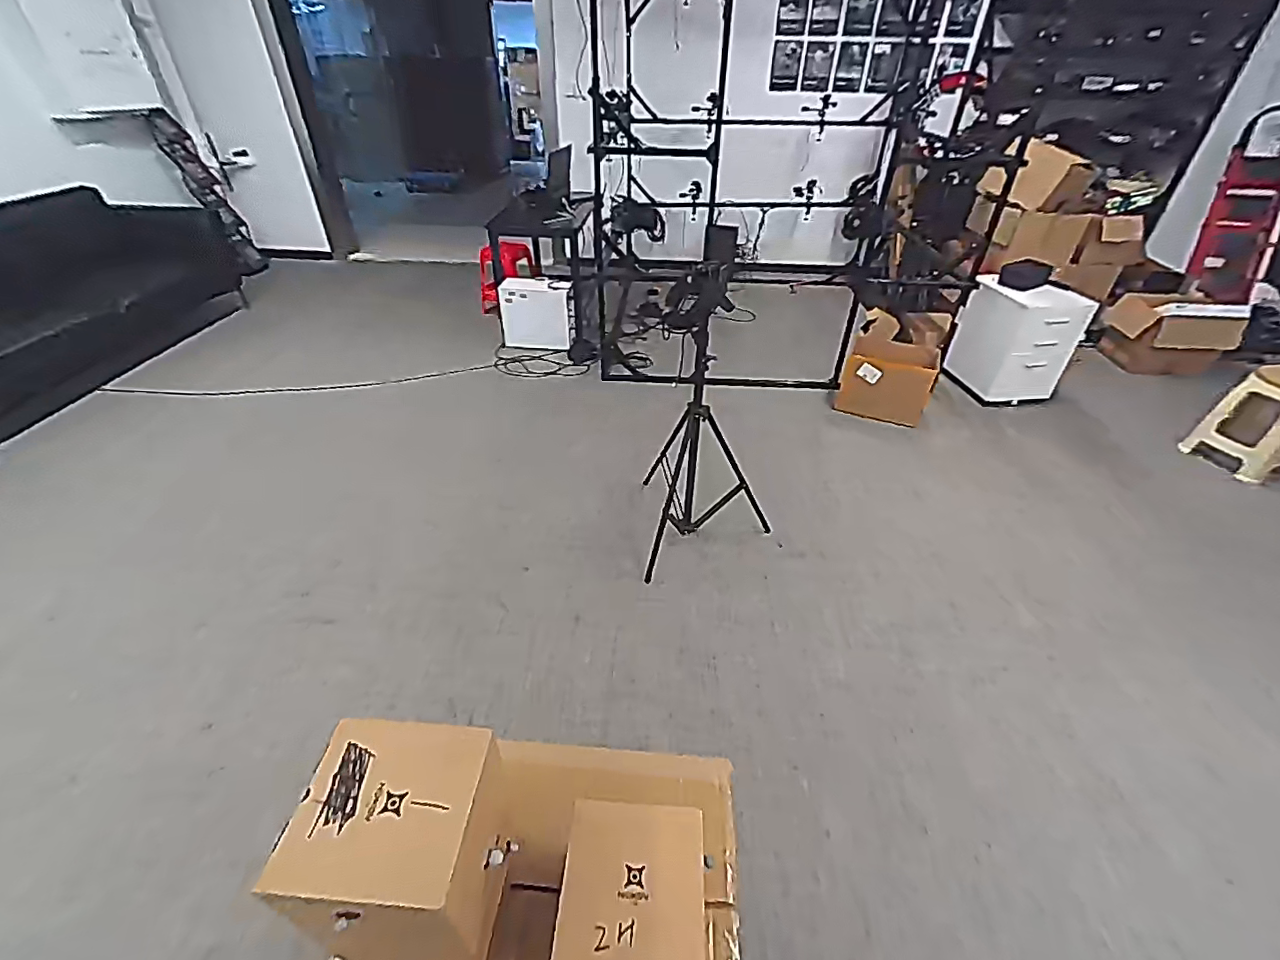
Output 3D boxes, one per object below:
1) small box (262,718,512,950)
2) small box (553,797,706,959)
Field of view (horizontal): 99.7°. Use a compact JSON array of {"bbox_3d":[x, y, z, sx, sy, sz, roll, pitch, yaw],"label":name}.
[{"bbox_3d":[-0.253,0.387,0.595,0.179,0.176,0.168,3,38,2],"label":"small box"},{"bbox_3d":[-0.005,0.530,0.676,0.168,0.176,0.179,1,38,4],"label":"small box"}]
